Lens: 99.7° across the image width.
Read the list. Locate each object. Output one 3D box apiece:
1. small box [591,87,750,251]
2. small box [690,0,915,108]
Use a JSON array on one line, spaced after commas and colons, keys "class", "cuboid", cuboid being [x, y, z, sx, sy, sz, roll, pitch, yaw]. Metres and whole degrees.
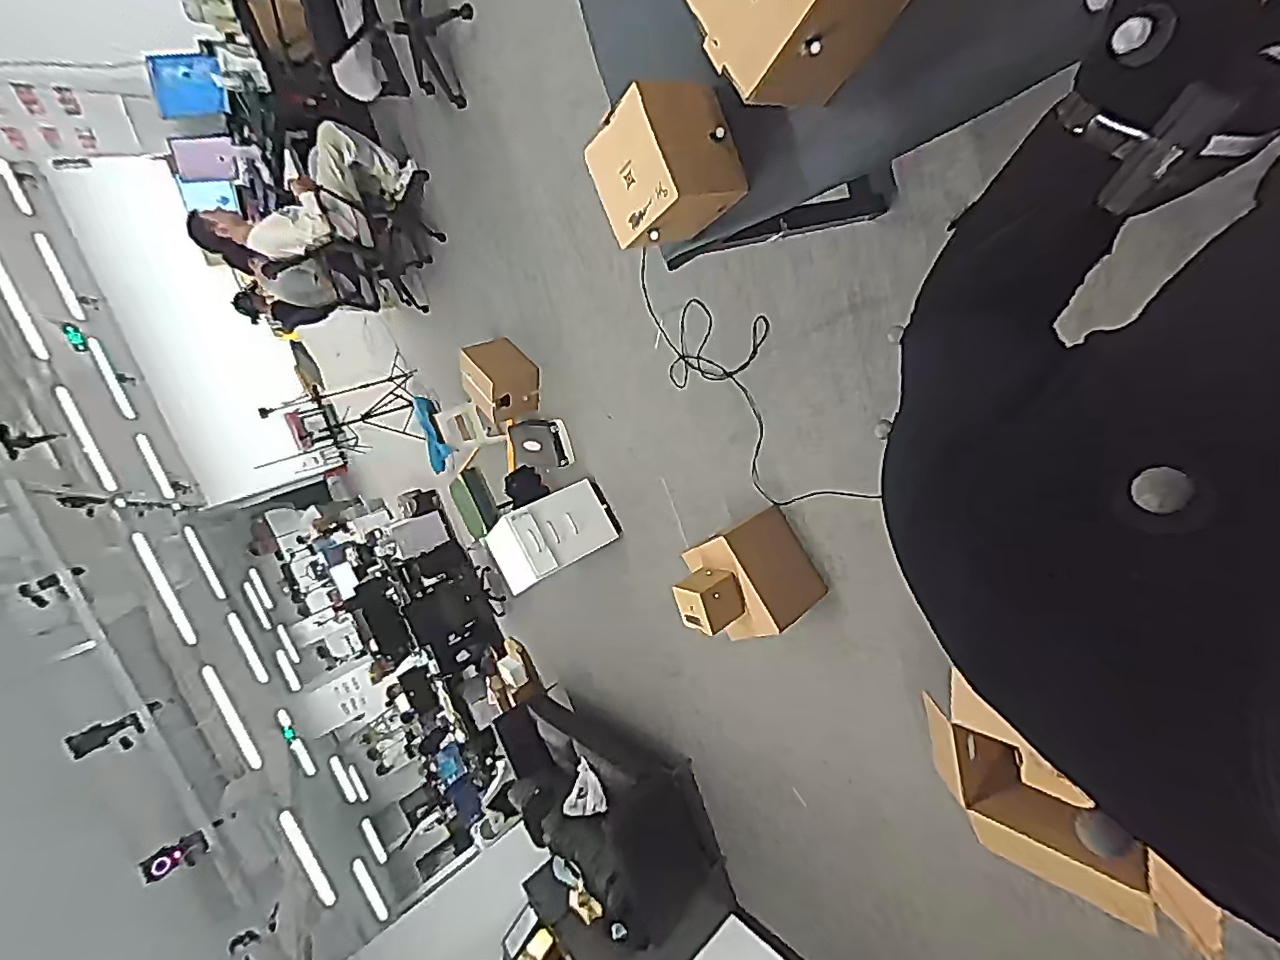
[{"class": "small box", "cuboid": [0.052, -0.511, 0.905, 0.168, 0.176, 0.179, -14, 99, 57]}, {"class": "small box", "cuboid": [0.198, -0.585, 0.649, 0.168, 0.176, 0.179, 62, 147, 4]}]
